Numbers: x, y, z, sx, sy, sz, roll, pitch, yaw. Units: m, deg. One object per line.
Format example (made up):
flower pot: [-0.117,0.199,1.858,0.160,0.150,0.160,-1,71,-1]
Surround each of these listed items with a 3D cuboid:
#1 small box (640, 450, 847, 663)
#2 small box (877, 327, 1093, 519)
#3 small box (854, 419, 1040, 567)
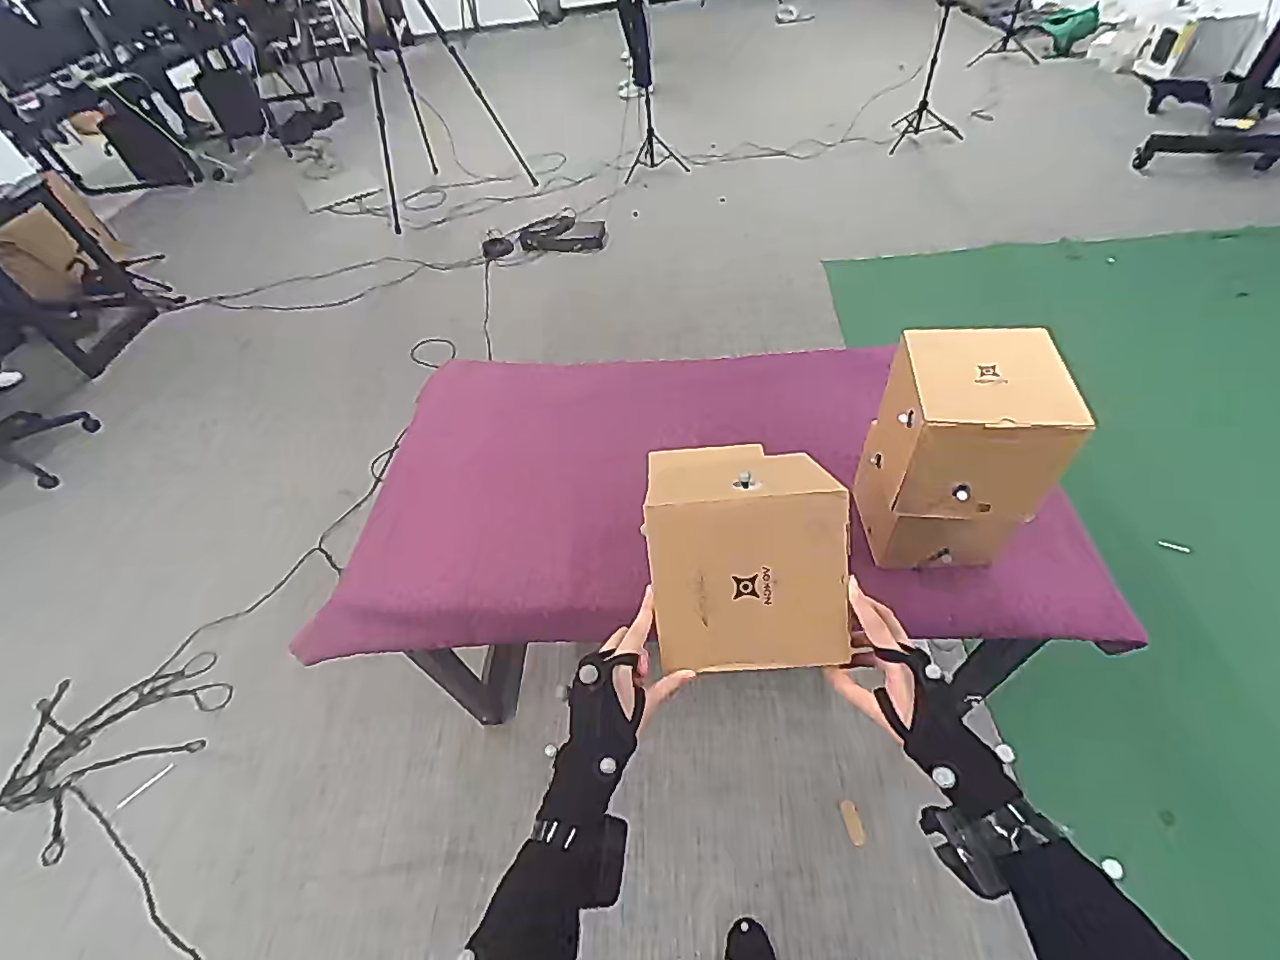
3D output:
small box: [0.098,0.066,0.553,0.179,0.168,0.176,-4,12,6]
small box: [0.409,-0.073,0.682,0.168,0.176,0.179,2,50,12]
small box: [0.443,0.019,0.815,0.179,0.176,0.168,-3,48,6]
